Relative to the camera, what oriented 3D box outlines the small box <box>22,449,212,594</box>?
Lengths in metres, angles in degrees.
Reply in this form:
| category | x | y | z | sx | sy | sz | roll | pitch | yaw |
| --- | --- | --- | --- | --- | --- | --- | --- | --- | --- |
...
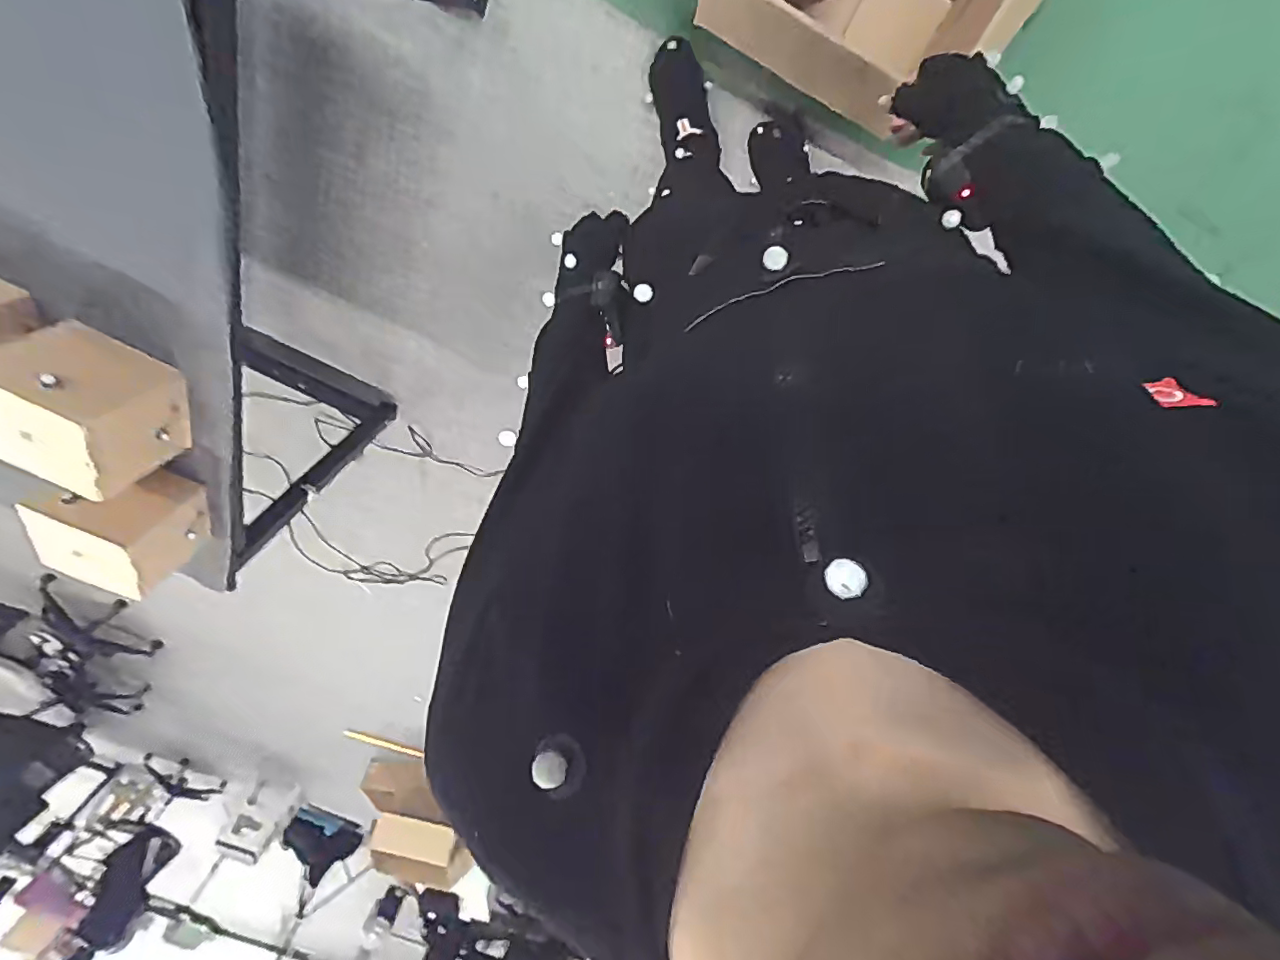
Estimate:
| category | x | y | z | sx | sy | sz | roll | pitch | yaw |
| --- | --- | --- | --- | --- | --- | --- | --- | --- | --- |
| small box | -0.932 | 0.068 | 0.985 | 0.179 | 0.176 | 0.168 | 26 | 128 | -8 |
